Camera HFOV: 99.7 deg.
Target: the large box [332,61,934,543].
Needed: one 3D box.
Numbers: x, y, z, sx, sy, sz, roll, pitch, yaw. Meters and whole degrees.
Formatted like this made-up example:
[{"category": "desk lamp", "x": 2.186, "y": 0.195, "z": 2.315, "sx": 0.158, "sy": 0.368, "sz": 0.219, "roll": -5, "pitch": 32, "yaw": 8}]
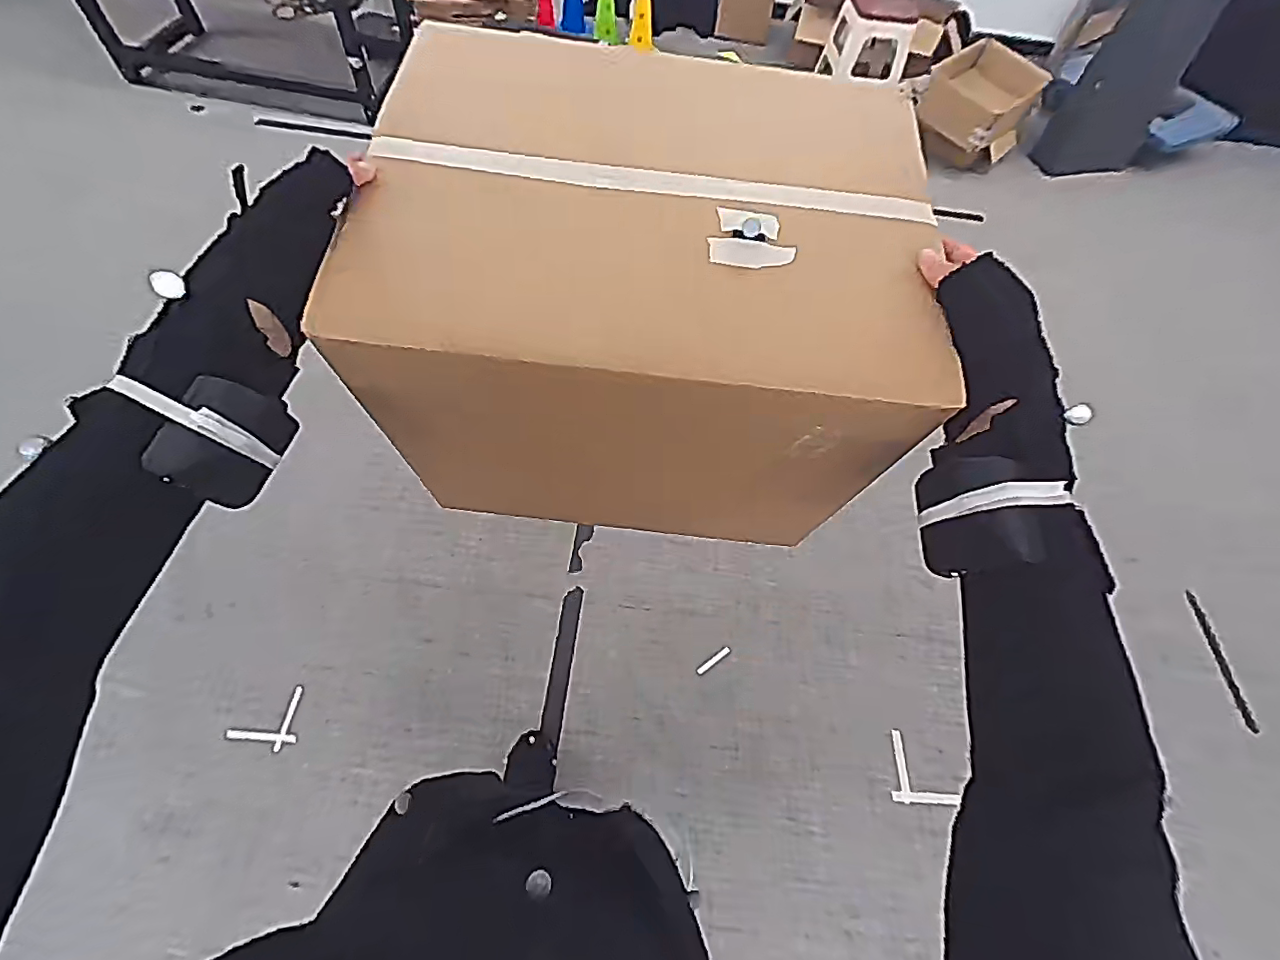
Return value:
[{"category": "large box", "x": -0.002, "y": -0.140, "z": 0.544, "sx": 0.408, "sy": 0.320, "sz": 0.320, "roll": 7, "pitch": 67, "yaw": -2}]
